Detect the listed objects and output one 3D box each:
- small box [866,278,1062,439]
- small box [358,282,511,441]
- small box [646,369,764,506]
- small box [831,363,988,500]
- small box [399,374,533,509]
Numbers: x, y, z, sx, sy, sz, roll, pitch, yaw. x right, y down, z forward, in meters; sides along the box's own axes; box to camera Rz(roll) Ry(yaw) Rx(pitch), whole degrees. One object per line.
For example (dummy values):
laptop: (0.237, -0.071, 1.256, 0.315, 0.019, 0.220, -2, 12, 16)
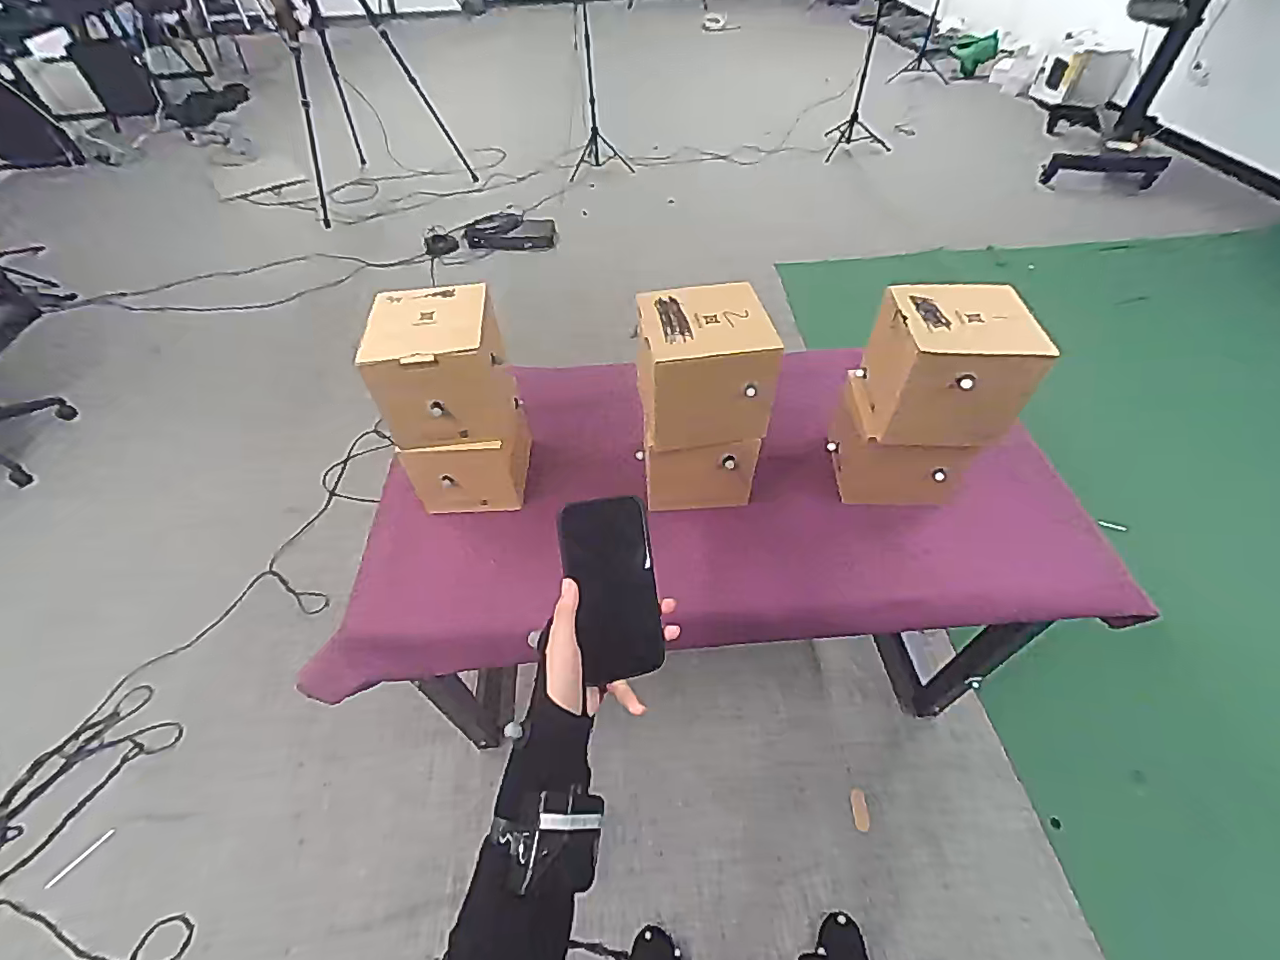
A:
small box: (0.444, -0.173, 0.783, 0.179, 0.176, 0.168, 1, 50, 4)
small box: (-0.297, -0.173, 0.825, 0.168, 0.176, 0.179, -7, 50, -3)
small box: (0.102, -0.069, 0.928, 0.179, 0.176, 0.168, -4, 50, 1)
small box: (0.442, -0.078, 0.918, 0.179, 0.176, 0.168, 1, 50, 5)
small box: (-0.289, -0.061, 0.944, 0.168, 0.176, 0.179, -3, 50, 1)
